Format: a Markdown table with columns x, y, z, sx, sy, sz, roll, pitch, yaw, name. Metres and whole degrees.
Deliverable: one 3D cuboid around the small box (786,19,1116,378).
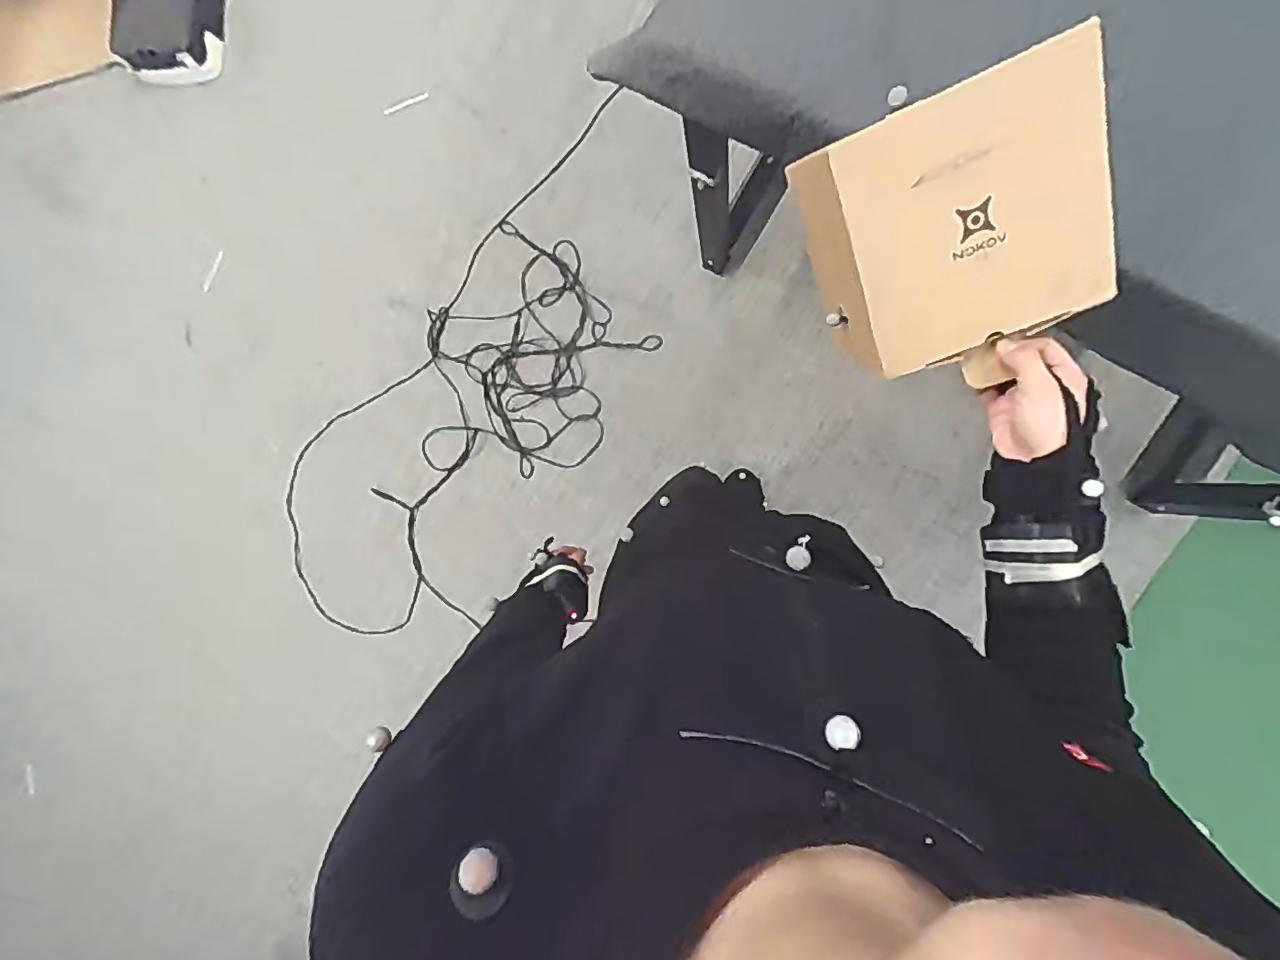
| x | y | z | sx | sy | sz | roll | pitch | yaw | name |
| --- | --- | --- | --- | --- | --- | --- | --- | --- | --- |
| 0.235 | -0.212 | 0.443 | 0.168 | 0.176 | 0.179 | -21 | 112 | 13 | small box |
